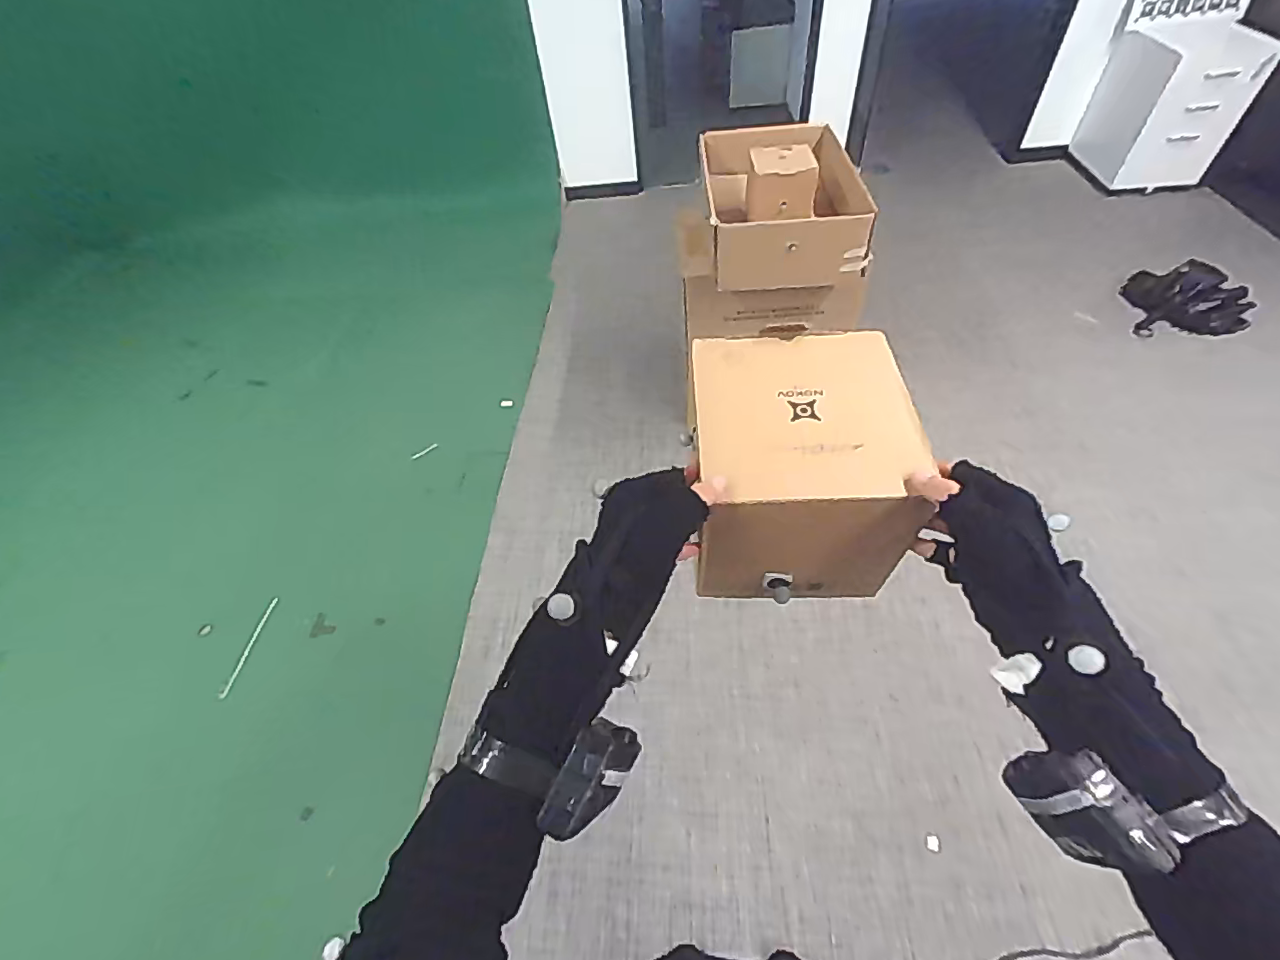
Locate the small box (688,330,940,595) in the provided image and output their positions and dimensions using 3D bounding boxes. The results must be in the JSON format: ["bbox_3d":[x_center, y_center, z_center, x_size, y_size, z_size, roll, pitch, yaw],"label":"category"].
[{"bbox_3d":[0.130,-0.012,0.487,0.168,0.176,0.179,-1,55,3],"label":"small box"}]
